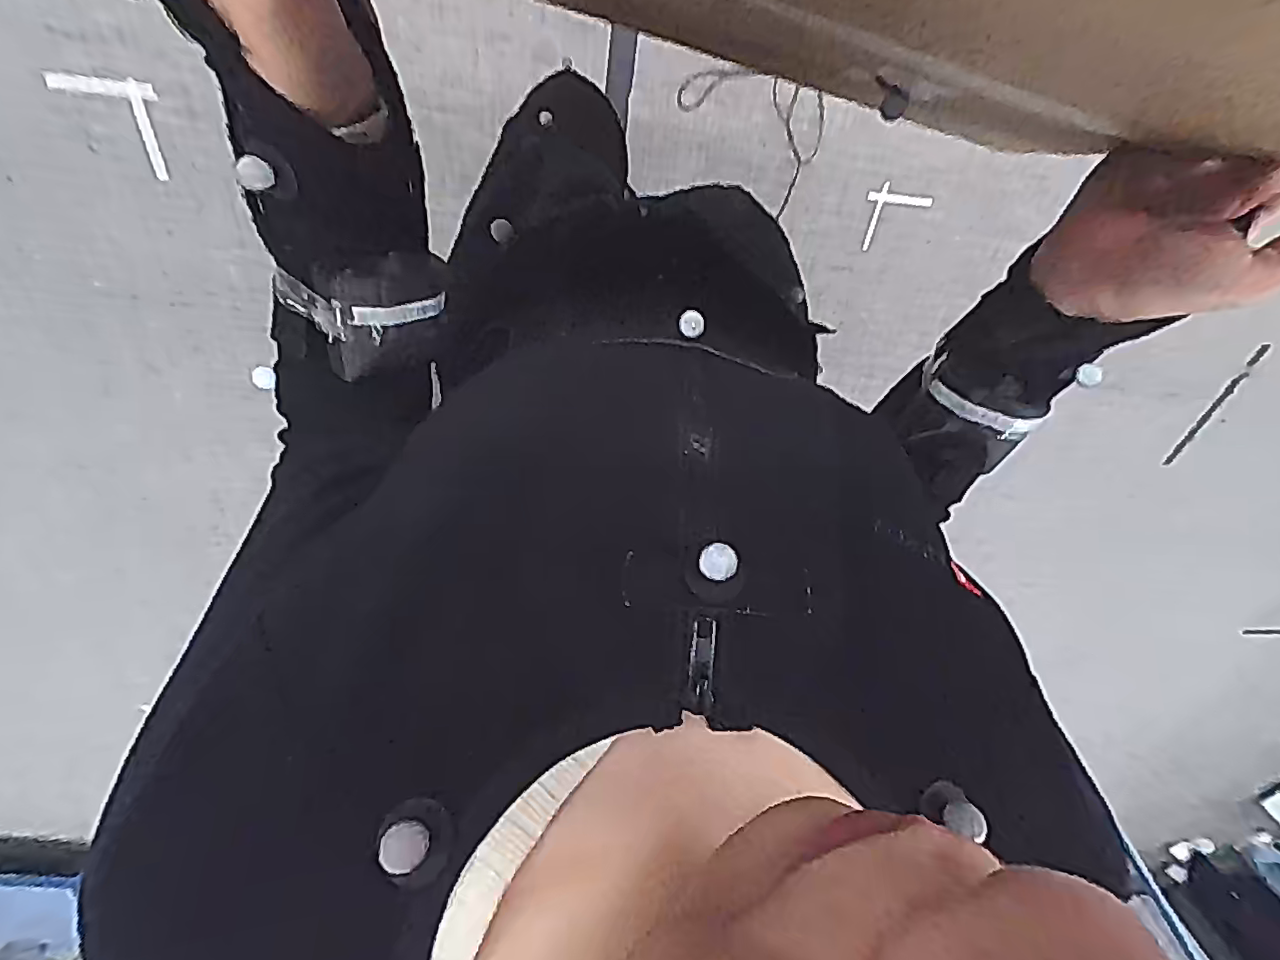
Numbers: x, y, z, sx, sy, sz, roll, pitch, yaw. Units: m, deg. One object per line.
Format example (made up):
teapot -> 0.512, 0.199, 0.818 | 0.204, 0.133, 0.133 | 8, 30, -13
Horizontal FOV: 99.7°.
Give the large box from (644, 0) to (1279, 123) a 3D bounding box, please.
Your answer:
large box -> 0.102, -0.317, 0.119 | 0.408, 0.320, 0.320 | 8, 122, -11
